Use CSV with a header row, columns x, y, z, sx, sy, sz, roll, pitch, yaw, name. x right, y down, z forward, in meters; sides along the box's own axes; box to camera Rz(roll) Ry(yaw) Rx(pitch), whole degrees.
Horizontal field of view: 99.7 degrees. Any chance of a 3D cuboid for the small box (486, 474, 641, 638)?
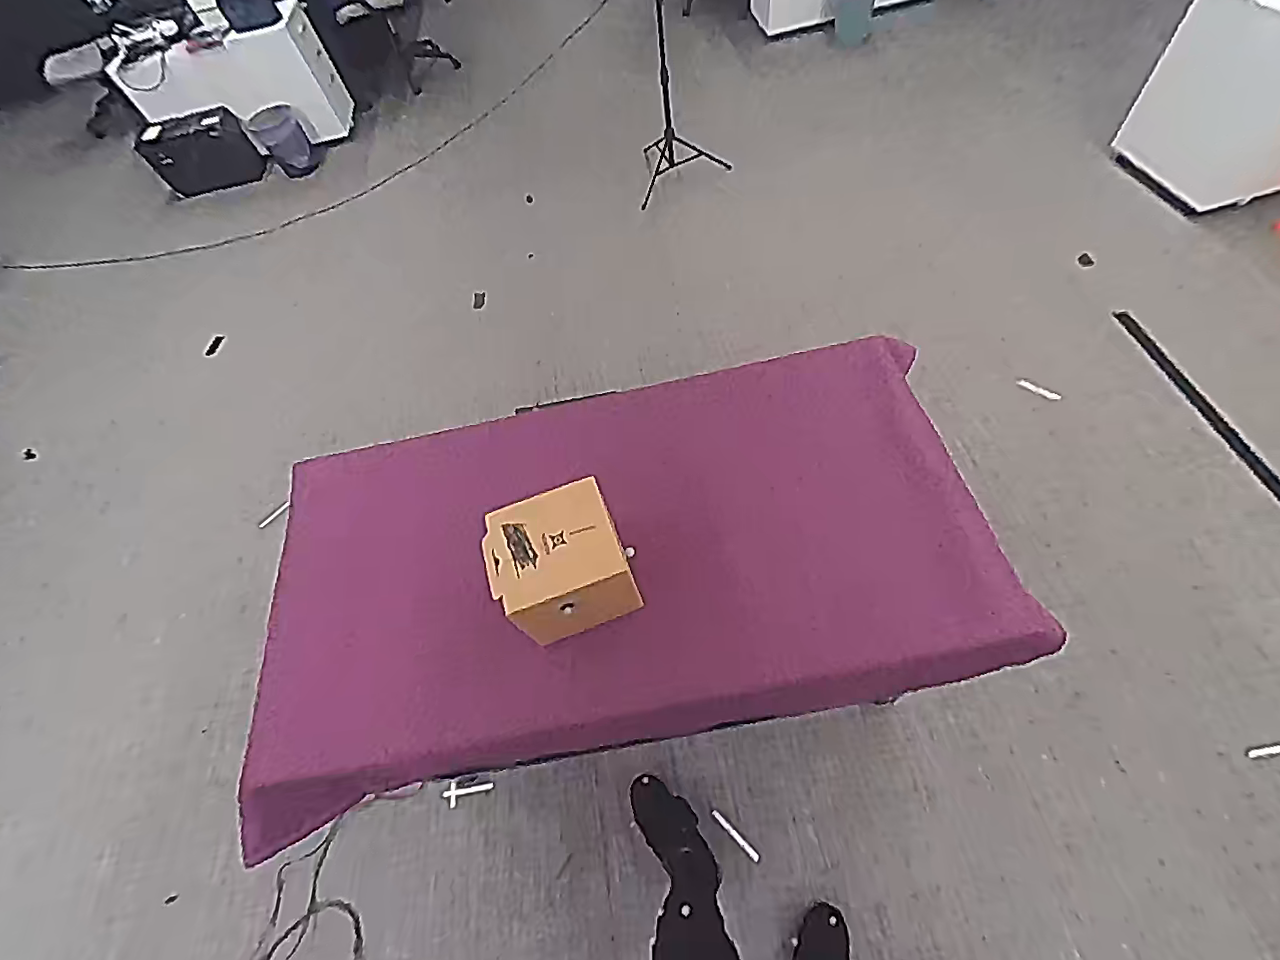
x,y,z,sx,sy,sz,roll,pitch,yaw,name
-0.113,0.124,0.834,0.179,0.176,0.168,-21,59,-3,small box
